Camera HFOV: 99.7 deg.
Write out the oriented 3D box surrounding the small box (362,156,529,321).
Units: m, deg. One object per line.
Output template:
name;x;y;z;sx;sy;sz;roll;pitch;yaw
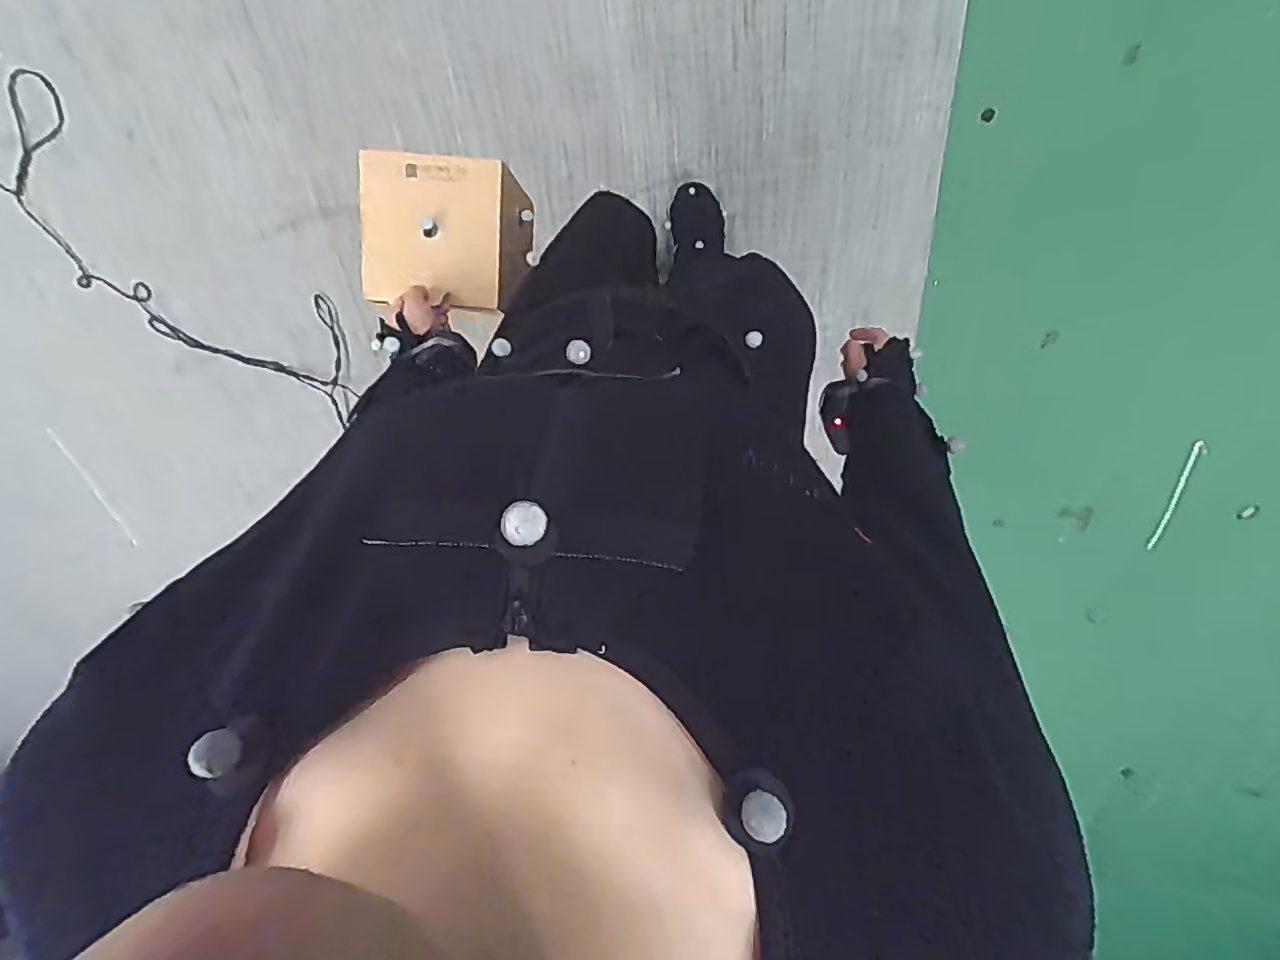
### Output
small box;-0.245;-0.307;0.714;0.168;0.179;0.176;3;103;0
